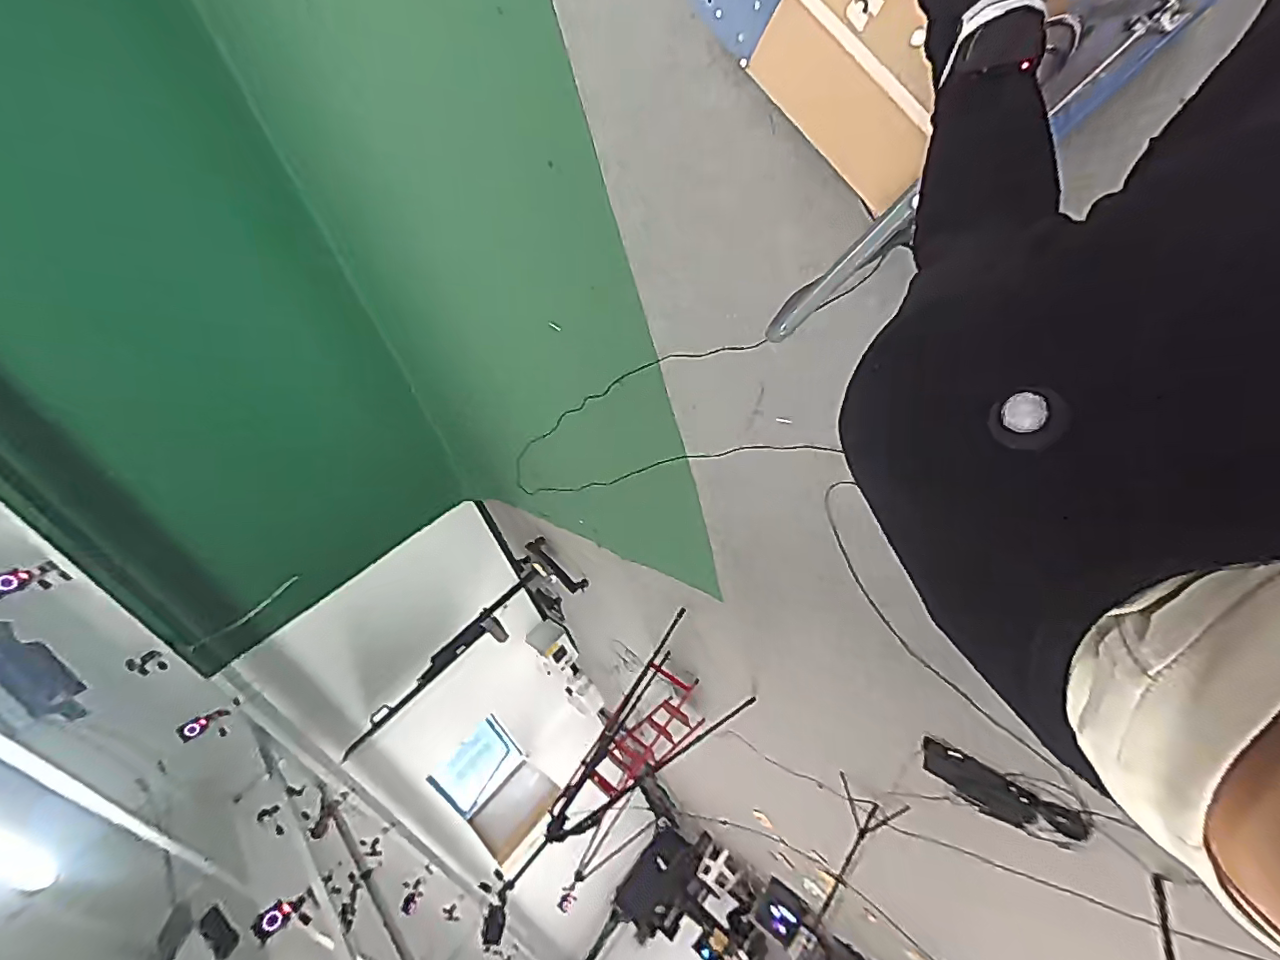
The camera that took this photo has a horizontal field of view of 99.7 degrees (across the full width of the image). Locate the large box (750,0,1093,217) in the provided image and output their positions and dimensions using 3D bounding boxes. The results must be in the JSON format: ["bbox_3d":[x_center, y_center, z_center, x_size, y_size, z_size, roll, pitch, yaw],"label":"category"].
[{"bbox_3d":[0.495,-0.778,0.985,0.408,0.320,0.320,50,149,3],"label":"large box"}]
